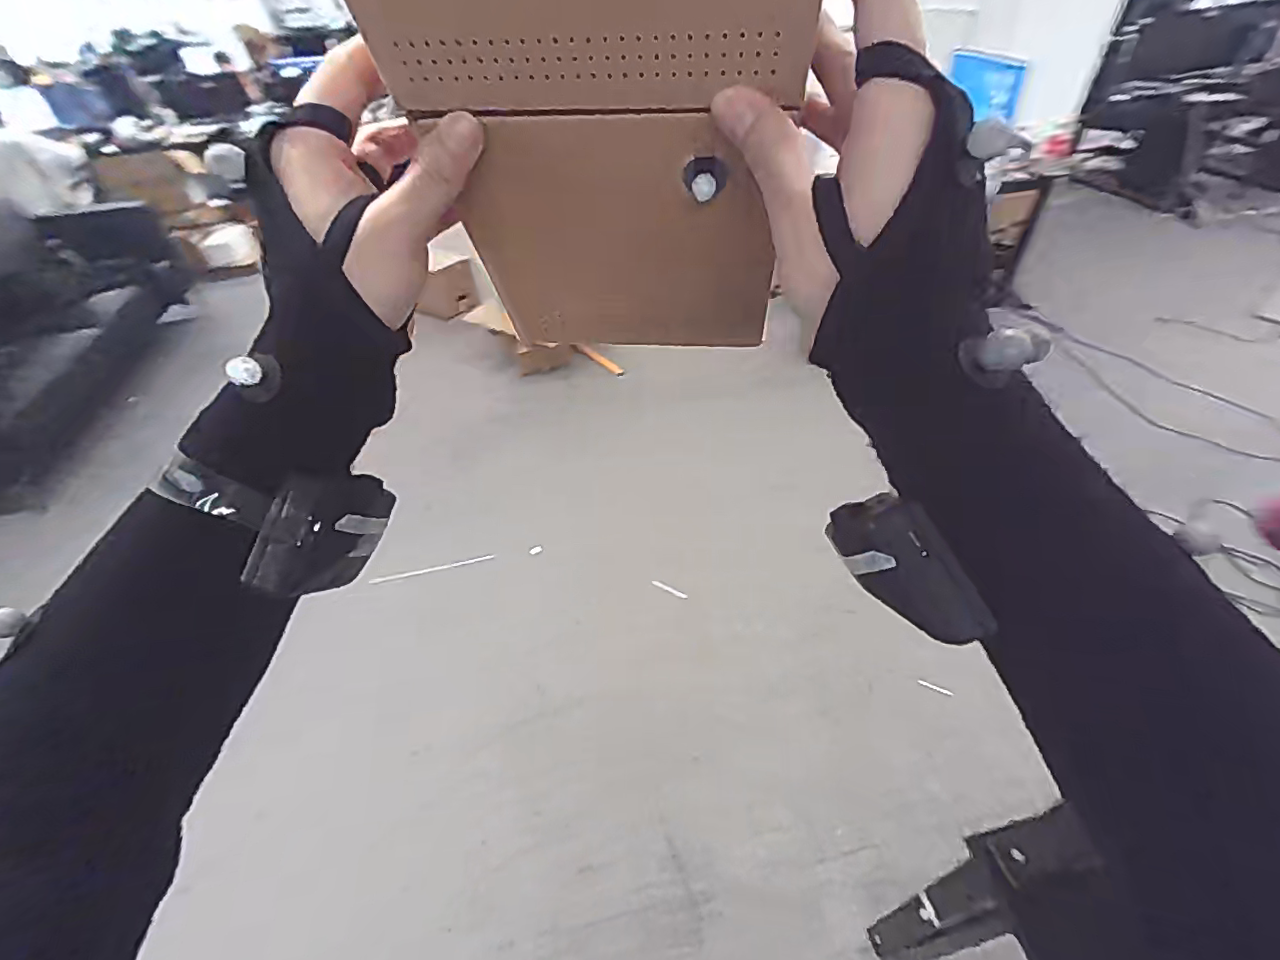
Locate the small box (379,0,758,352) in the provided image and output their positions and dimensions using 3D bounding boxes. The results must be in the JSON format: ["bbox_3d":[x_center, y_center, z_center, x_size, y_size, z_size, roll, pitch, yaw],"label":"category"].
[{"bbox_3d":[-0.022,-0.195,0.341,0.179,0.176,0.168,1,68,6],"label":"small box"}]
